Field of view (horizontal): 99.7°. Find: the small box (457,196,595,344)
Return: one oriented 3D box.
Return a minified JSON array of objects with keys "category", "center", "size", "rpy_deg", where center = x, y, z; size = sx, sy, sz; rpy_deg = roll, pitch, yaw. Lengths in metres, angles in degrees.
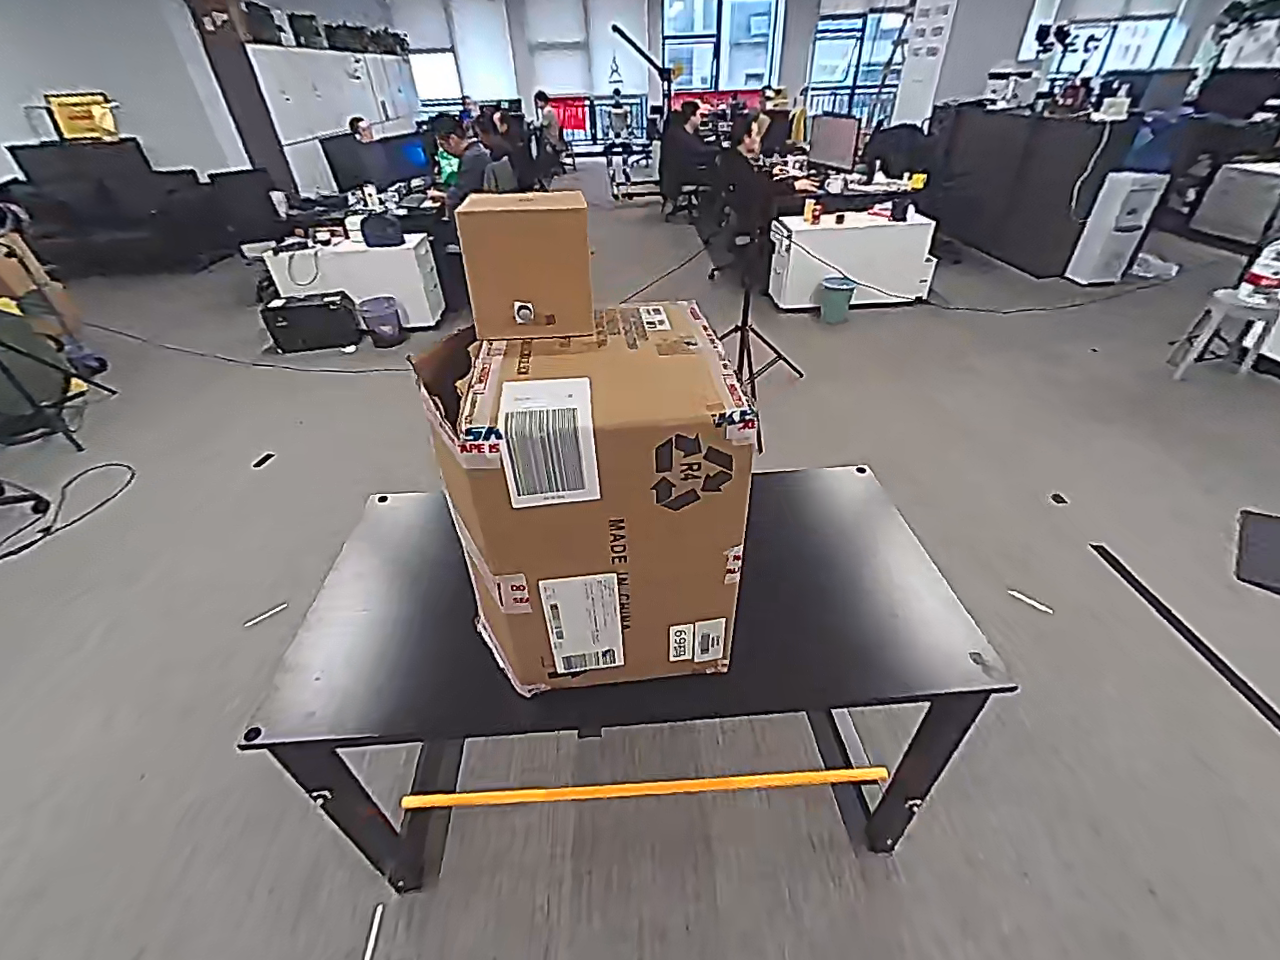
[{"category":"small box","center":[-0.156,-0.308,0.788],"size":[0.168,0.176,0.179],"rpy_deg":[-6,35,-6]}]
